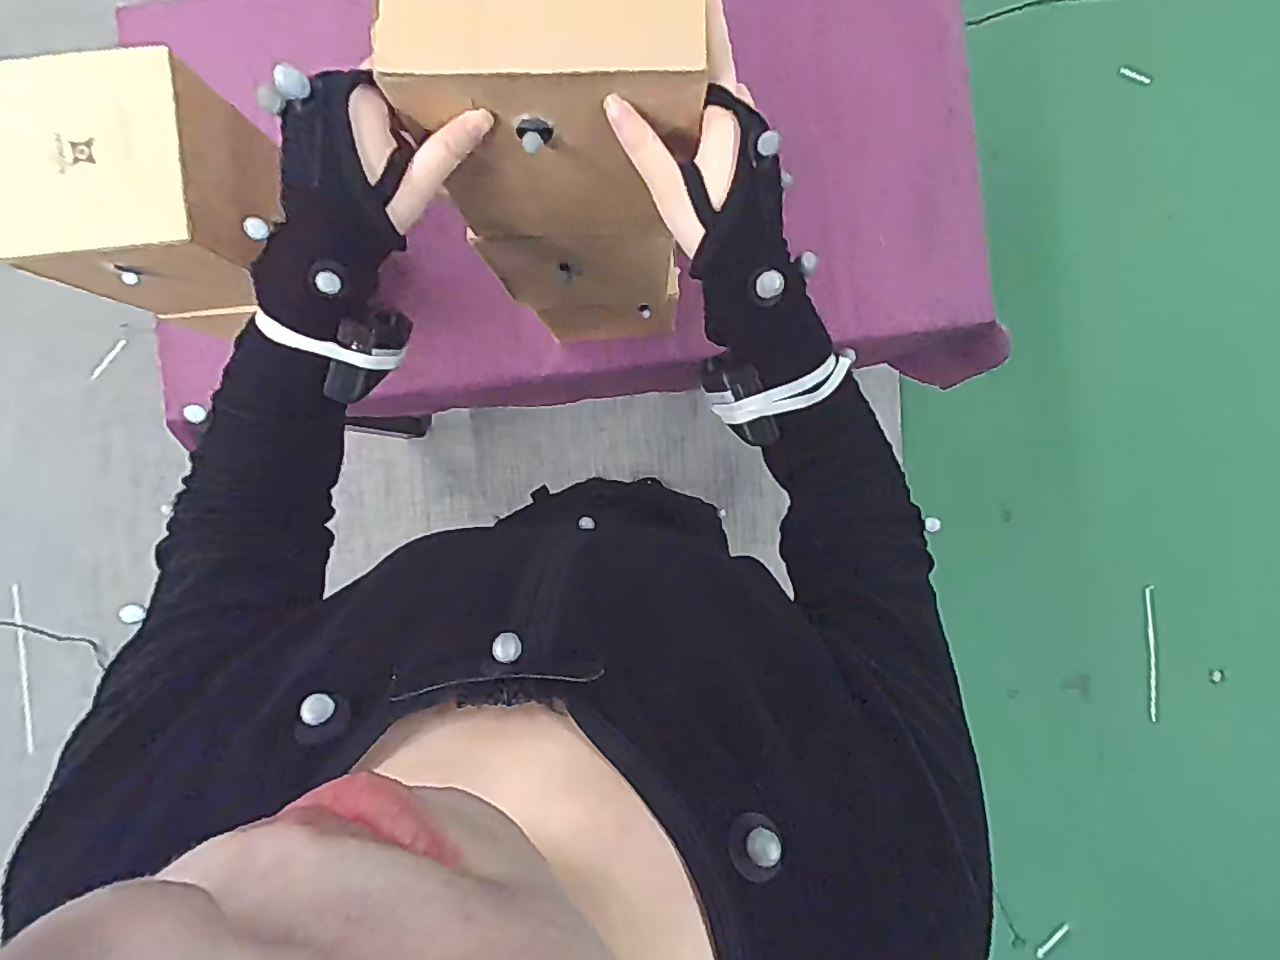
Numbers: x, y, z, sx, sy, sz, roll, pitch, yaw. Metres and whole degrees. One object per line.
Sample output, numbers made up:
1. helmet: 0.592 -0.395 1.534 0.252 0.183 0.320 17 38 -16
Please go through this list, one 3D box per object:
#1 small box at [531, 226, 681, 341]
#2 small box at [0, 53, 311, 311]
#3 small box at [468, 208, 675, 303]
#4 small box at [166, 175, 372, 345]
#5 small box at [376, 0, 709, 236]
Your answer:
1. small box: -0.042 -0.285 0.695 0.179 0.176 0.168 -5 90 1
2. small box: -0.468 -0.276 0.539 0.179 0.176 0.168 -4 92 0
3. small box: -0.053 -0.280 0.530 0.179 0.176 0.168 0 90 2
4. small box: -0.470 -0.278 0.702 0.168 0.176 0.179 -3 91 1
5. small box: -0.048 -0.282 0.363 0.179 0.176 0.168 0 88 1
